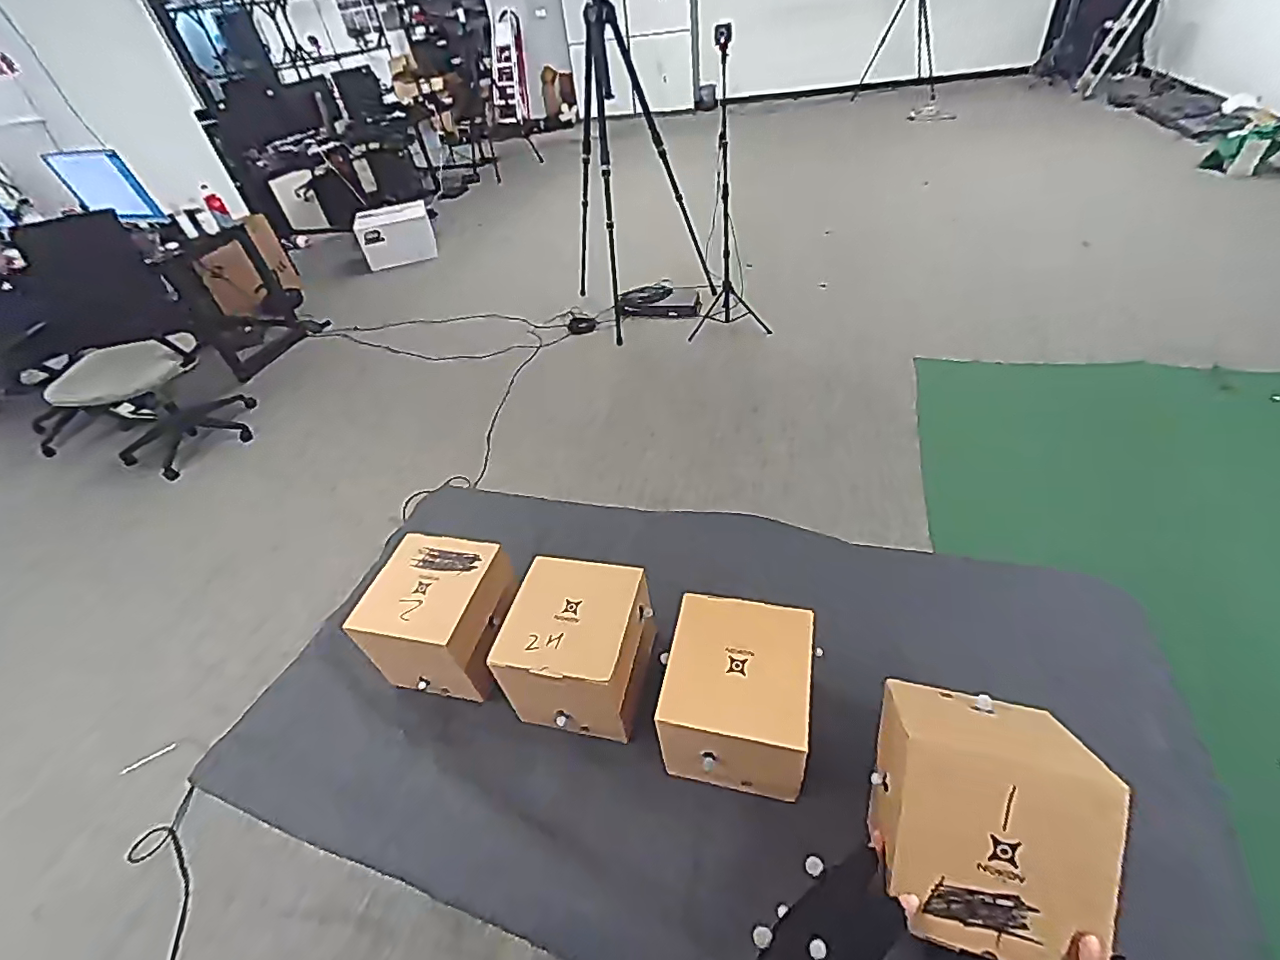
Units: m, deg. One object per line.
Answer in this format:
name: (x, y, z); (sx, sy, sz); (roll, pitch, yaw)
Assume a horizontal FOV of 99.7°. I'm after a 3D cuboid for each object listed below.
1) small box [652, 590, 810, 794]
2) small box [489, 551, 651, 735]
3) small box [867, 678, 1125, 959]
small box: (0.123, 0.270, 0.690); (0.168, 0.176, 0.179); (5, 44, 15)
small box: (-0.084, 0.229, 0.767); (0.168, 0.176, 0.179); (5, 44, 15)
small box: (0.328, 0.323, 0.538); (0.168, 0.176, 0.179); (8, 90, 18)
